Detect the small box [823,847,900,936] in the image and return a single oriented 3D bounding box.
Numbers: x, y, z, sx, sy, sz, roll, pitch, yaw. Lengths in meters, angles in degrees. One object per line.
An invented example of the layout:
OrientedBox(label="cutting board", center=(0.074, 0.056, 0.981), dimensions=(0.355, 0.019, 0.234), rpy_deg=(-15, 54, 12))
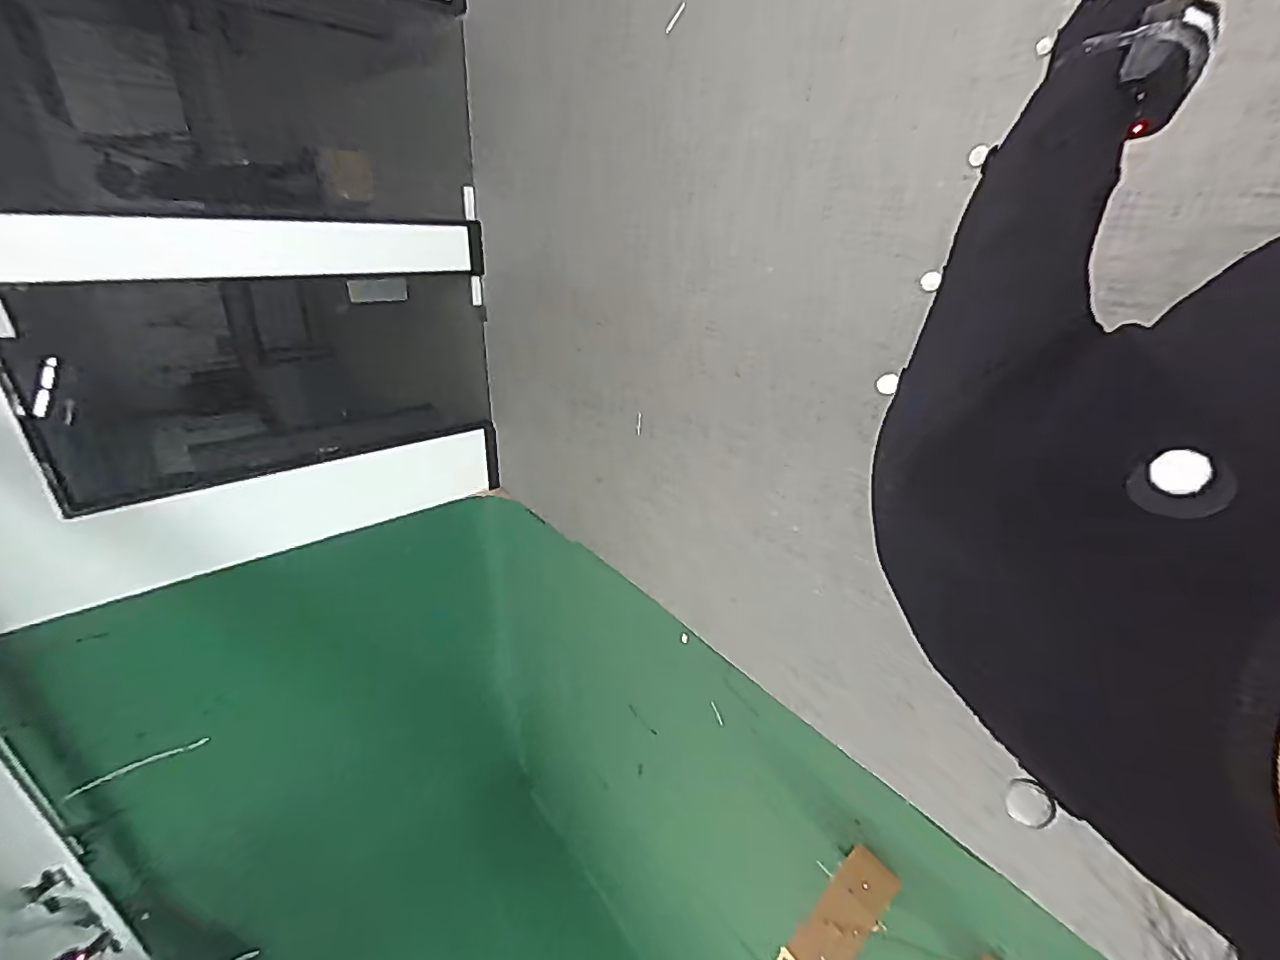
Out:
OrientedBox(label="small box", center=(0.811, 1.491, 1.977), dimensions=(0.179, 0.176, 0.168), rpy_deg=(34, 129, 38))

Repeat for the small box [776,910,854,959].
OrientedBox(label="small box", center=(0.570, 1.580, 1.772), dimensions=(0.179, 0.176, 0.168), rpy_deg=(33, 129, 39))
